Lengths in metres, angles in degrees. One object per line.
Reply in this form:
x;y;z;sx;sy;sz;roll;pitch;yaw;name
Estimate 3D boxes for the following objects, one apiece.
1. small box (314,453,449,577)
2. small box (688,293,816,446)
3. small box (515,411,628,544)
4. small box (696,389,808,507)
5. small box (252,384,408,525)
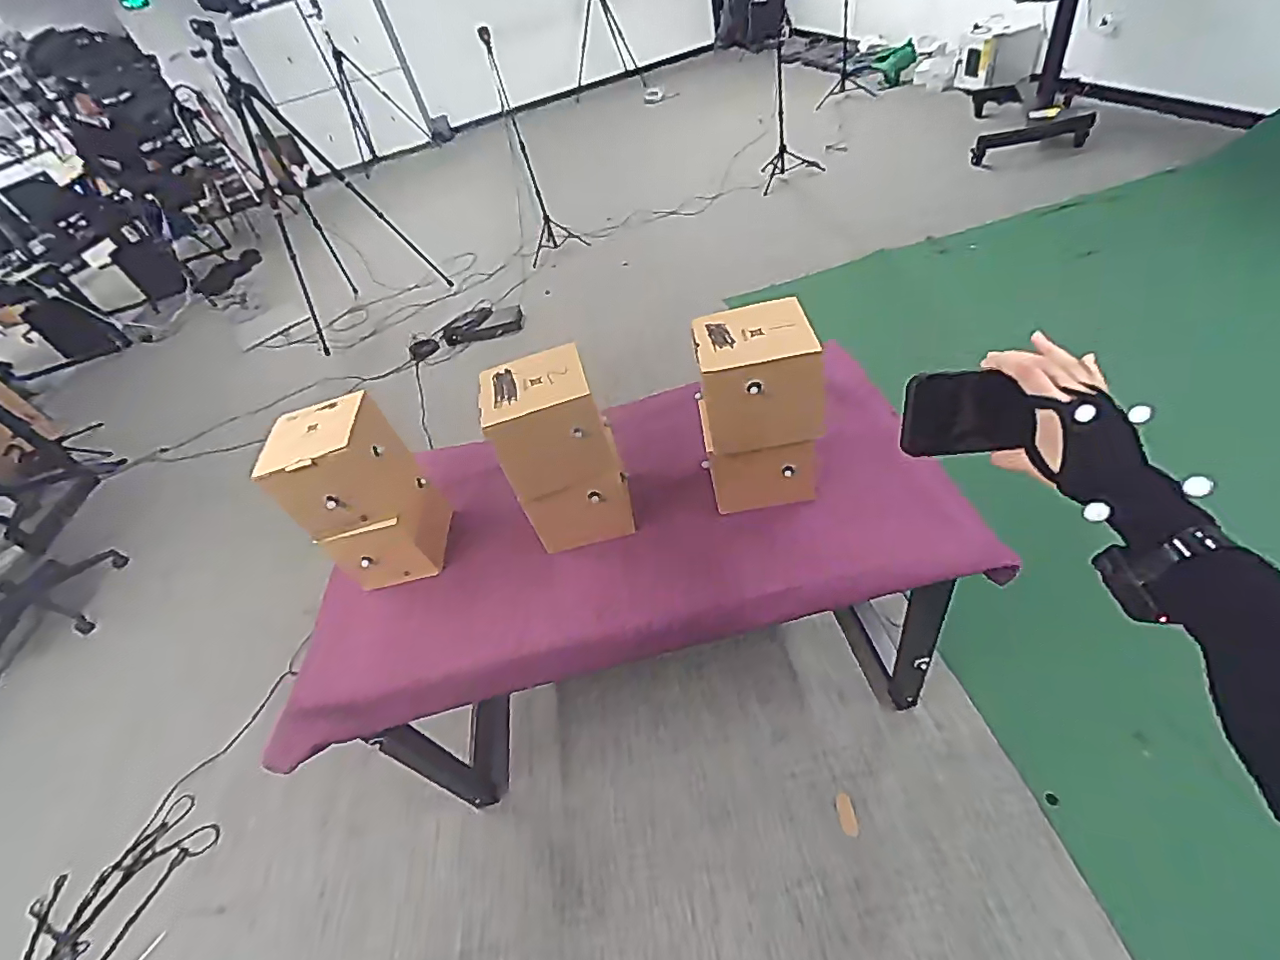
-0.505;0.078;1.086;0.168;0.176;0.179;-13;45;5;small box
0.181;-0.174;0.881;0.179;0.176;0.168;-9;45;8;small box
-0.124;-0.002;1.041;0.179;0.176;0.168;-14;45;4;small box
0.208;-0.071;1.007;0.179;0.176;0.168;-10;45;9;small box
-0.542;-0.039;0.977;0.168;0.176;0.179;-16;45;0;small box
